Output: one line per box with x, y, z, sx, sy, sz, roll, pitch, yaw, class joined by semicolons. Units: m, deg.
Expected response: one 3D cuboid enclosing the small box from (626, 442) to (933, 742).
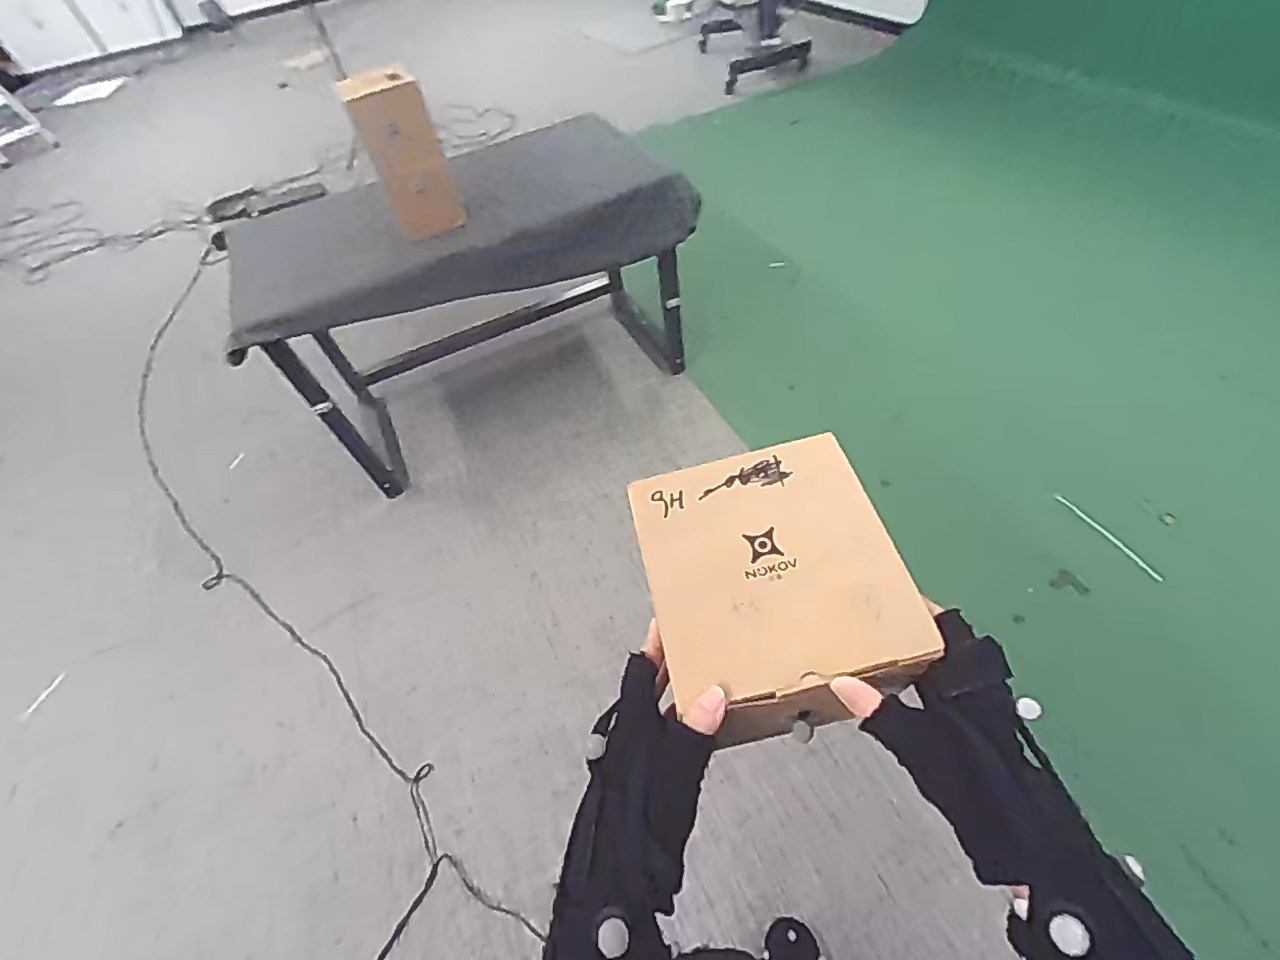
0.096;0.102;0.439;0.168;0.176;0.179;-14;57;0;small box

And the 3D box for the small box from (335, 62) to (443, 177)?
-0.595;-0.865;1.303;0.179;0.176;0.168;-27;54;-10;small box

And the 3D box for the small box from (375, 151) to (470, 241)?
-0.575;-0.764;1.431;0.179;0.176;0.168;-24;54;-11;small box
